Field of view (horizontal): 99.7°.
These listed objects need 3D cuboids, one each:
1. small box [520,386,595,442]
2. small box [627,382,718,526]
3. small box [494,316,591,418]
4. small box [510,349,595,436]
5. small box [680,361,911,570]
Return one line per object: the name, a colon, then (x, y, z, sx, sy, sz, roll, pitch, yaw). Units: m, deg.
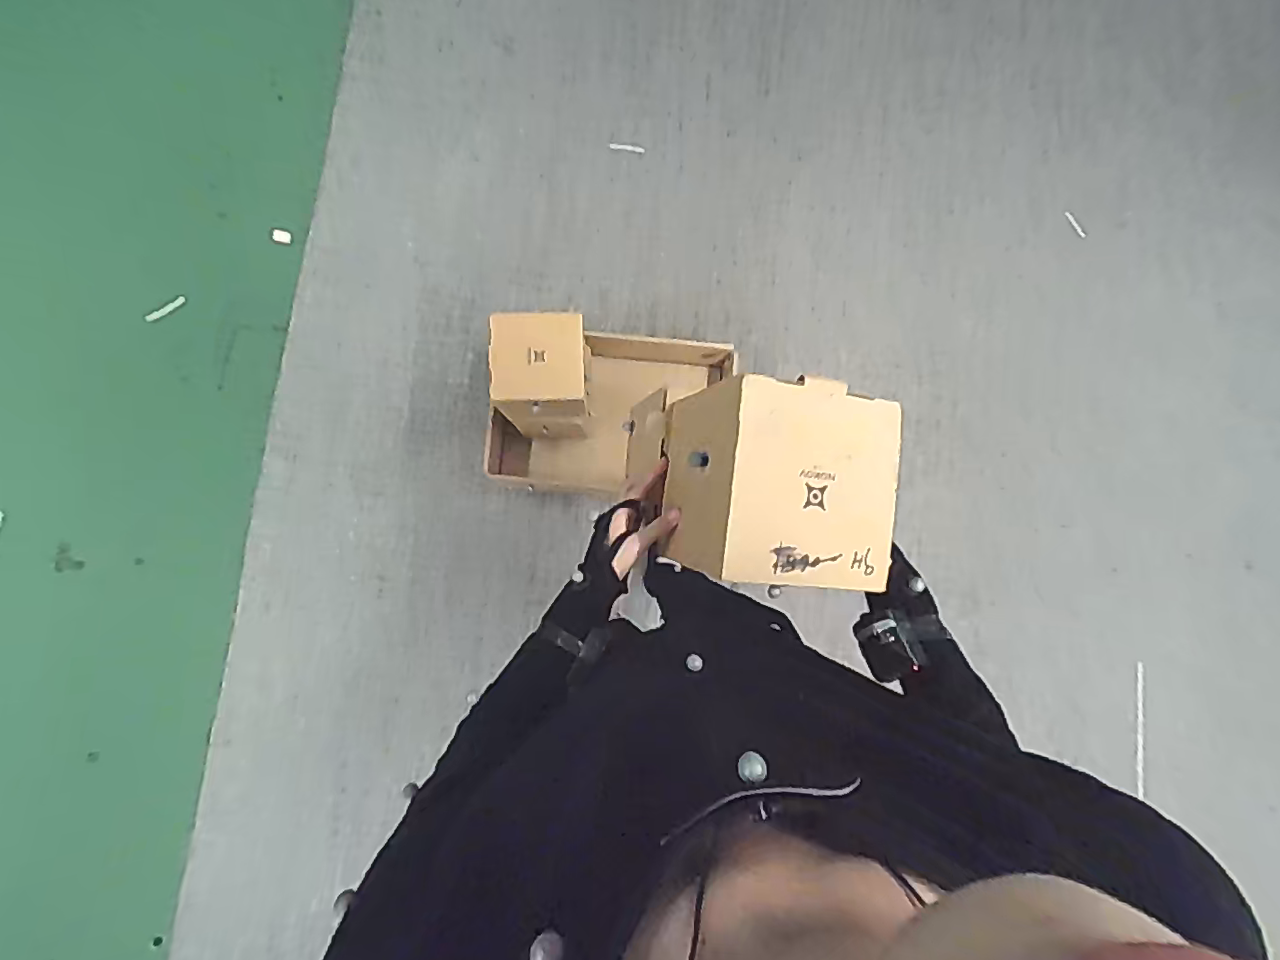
small box: (-0.210, -0.195, 1.408, 0.179, 0.176, 0.168, 2, 85, -4)
small box: (0.086, -0.021, 0.706, 0.179, 0.176, 0.168, 5, 87, -14)
small box: (-0.188, -0.220, 1.083, 0.179, 0.176, 0.168, -1, 86, -3)
small box: (-0.193, -0.202, 1.245, 0.168, 0.176, 0.179, 6, 85, -3)
small box: (0.139, -0.001, 0.539, 0.168, 0.176, 0.179, 2, 82, -10)
